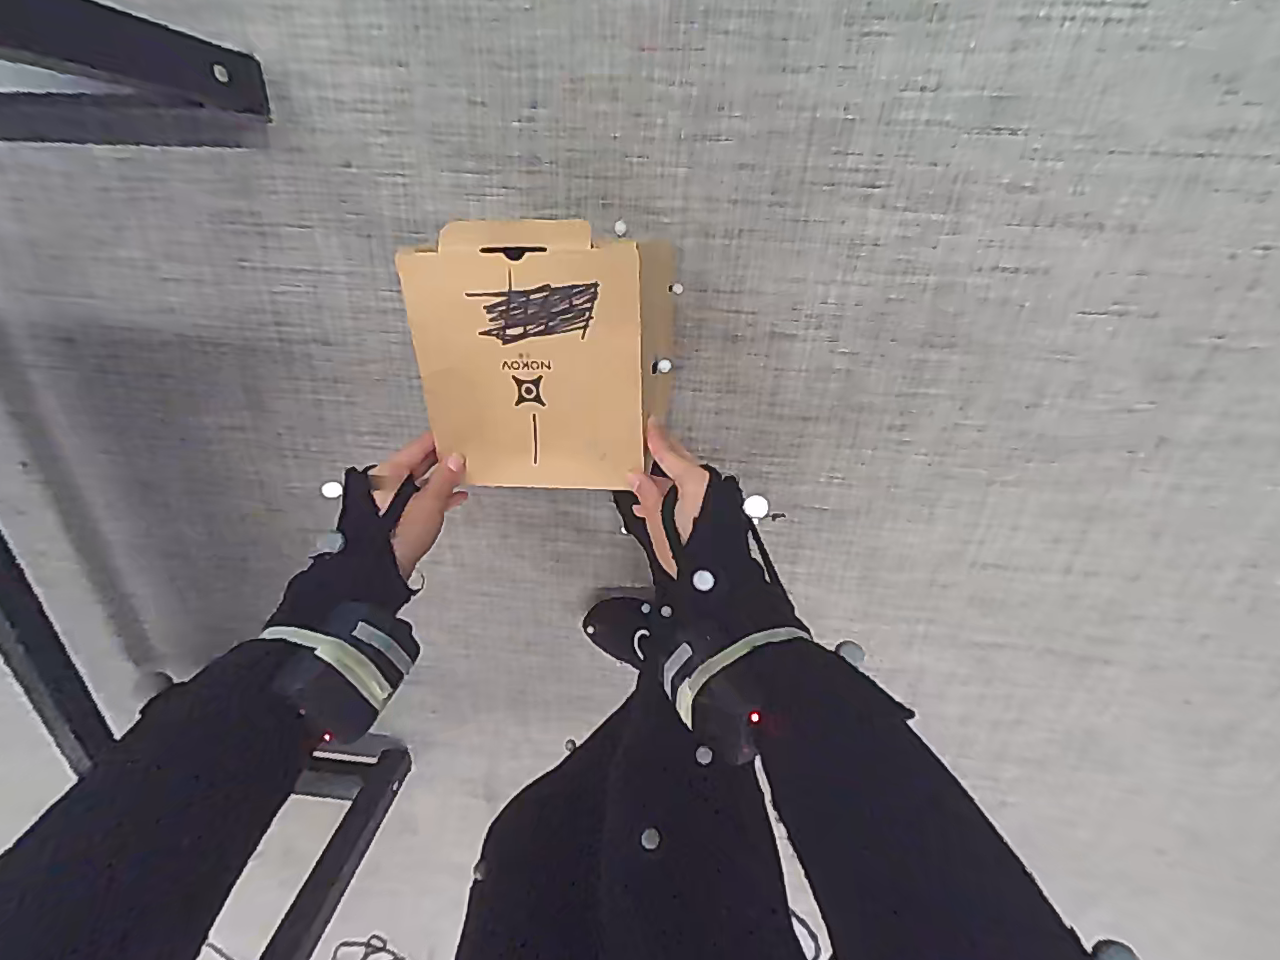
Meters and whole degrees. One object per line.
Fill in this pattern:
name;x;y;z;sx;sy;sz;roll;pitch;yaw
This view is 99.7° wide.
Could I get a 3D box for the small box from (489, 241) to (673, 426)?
small box;-0.052;-0.171;0.604;0.168;0.176;0.179;2;116;7
